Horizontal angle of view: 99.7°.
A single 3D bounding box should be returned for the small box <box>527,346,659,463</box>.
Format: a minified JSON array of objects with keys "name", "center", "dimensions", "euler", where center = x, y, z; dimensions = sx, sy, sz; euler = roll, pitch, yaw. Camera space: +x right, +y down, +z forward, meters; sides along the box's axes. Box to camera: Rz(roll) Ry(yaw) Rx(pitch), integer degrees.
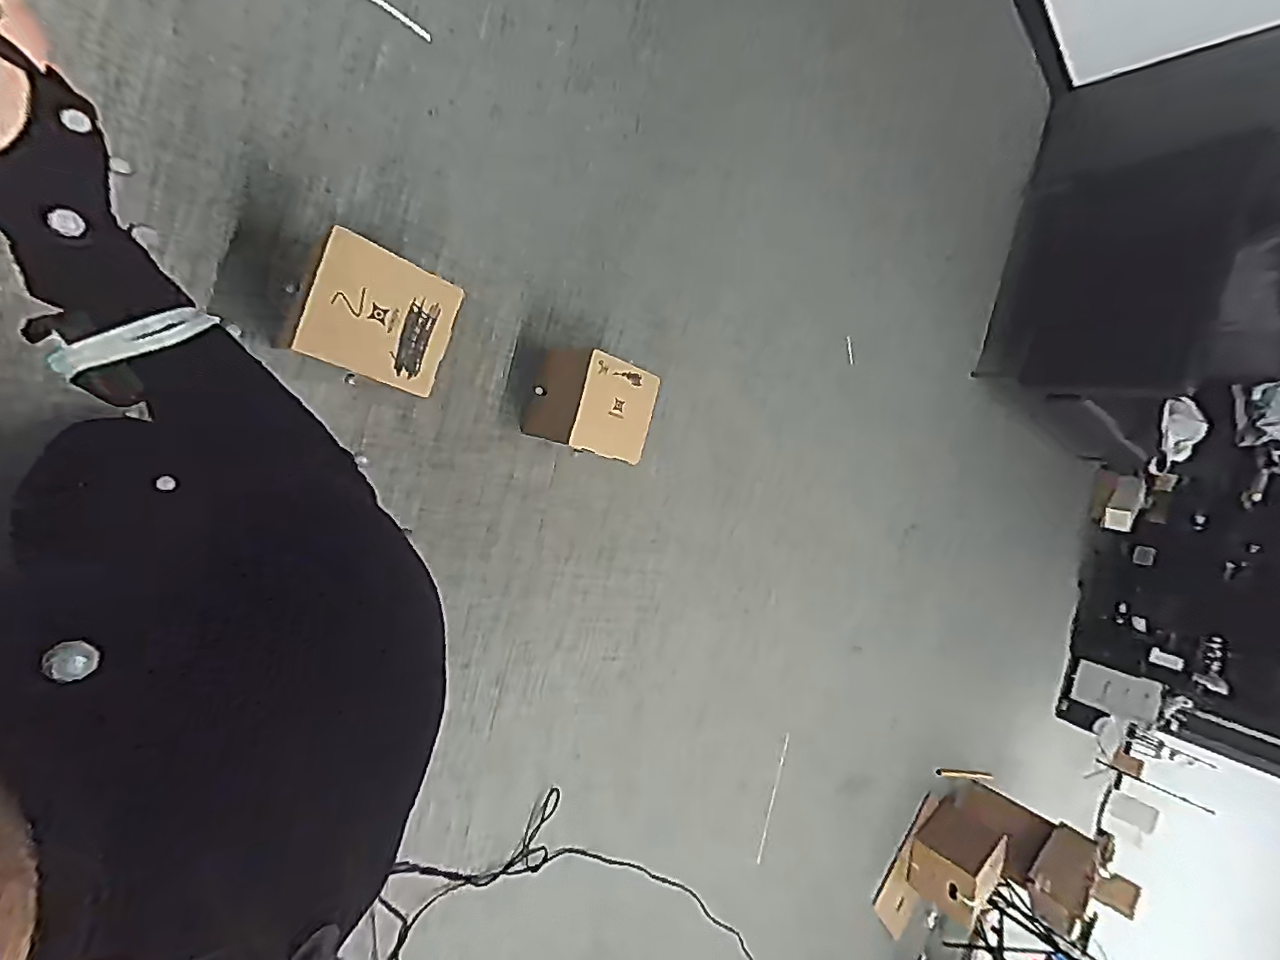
[{"name":"small box","center":[-0.096,-0.145,1.034],"dimensions":[0.168,0.176,0.179],"euler":[15,91,-41]}]
